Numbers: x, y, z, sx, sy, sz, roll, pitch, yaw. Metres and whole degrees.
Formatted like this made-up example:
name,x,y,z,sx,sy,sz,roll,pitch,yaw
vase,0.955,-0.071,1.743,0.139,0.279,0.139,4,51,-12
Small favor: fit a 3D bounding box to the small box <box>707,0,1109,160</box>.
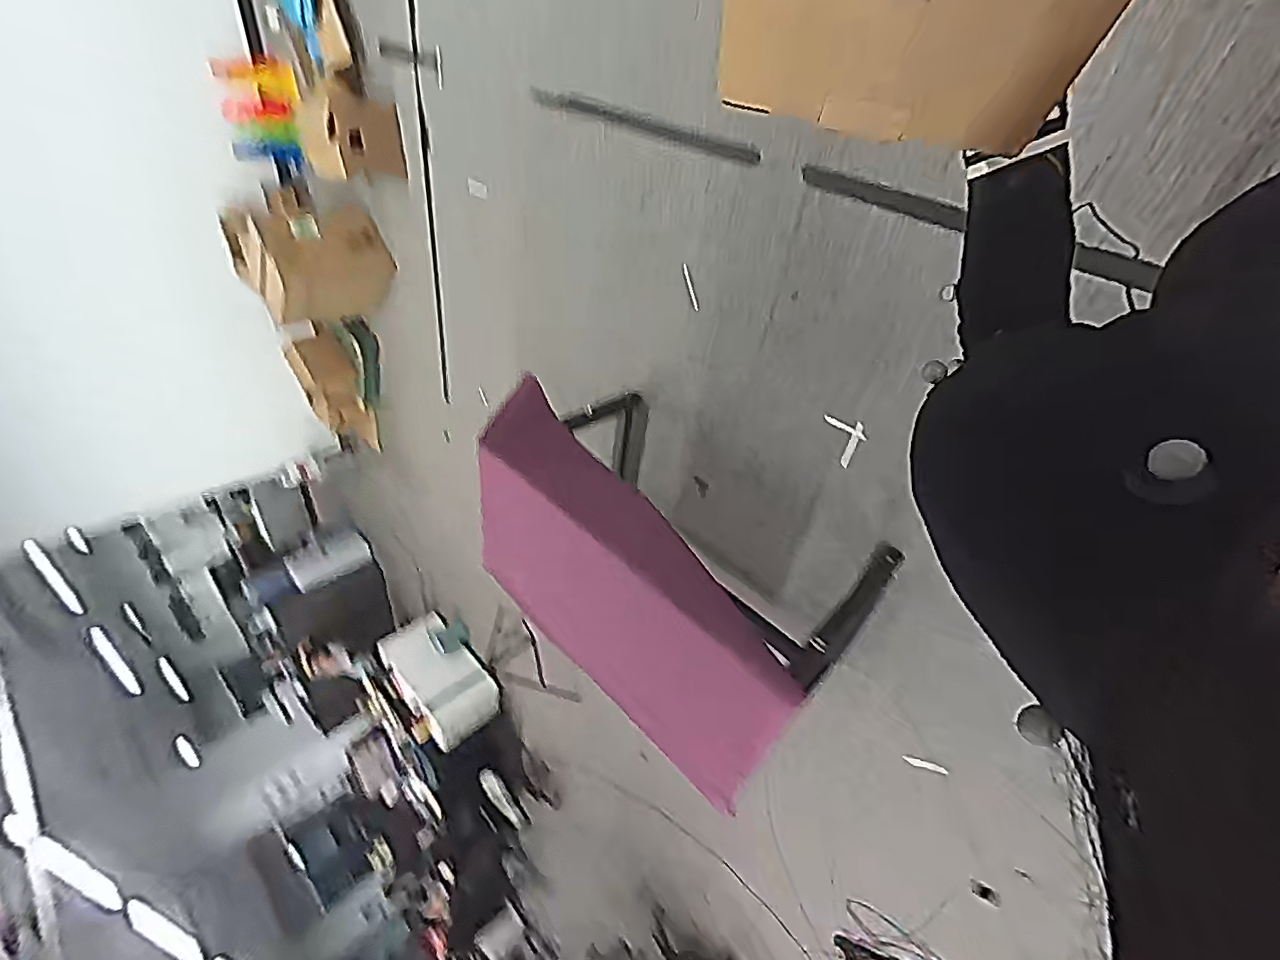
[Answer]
name,x,y,z,sx,sy,sz,roll,pitch,yaw
small box,0.130,-0.285,0.232,0.168,0.179,0.176,17,166,10
